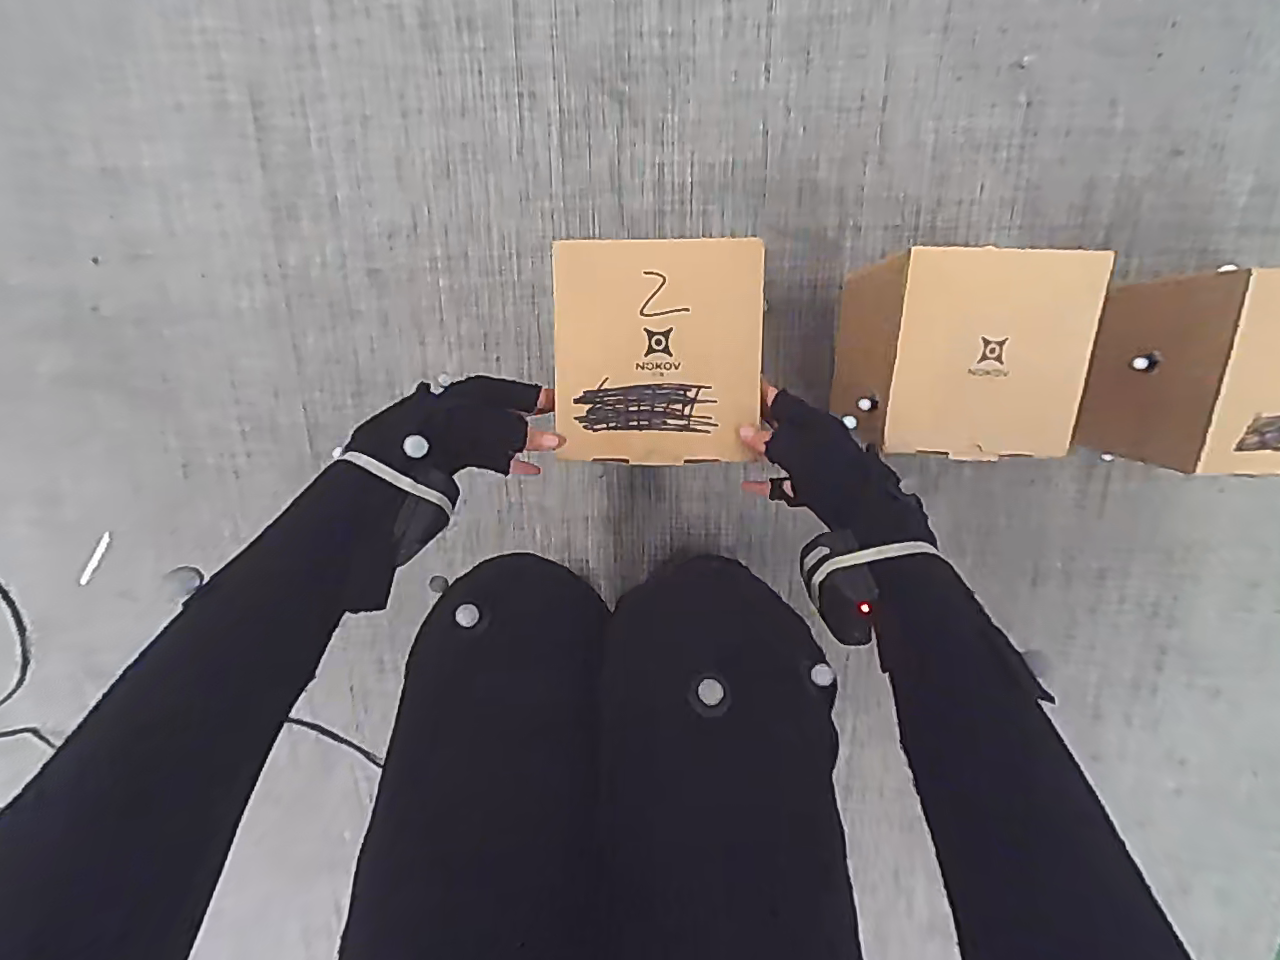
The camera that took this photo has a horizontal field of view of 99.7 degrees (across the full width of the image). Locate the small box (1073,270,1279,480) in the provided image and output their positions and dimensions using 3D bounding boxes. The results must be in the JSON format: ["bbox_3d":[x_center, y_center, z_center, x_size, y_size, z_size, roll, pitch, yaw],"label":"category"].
[{"bbox_3d":[0.574,-0.103,0.535,0.168,0.176,0.179,2,103,2],"label":"small box"}]

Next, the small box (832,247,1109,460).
[{"bbox_3d":[0.305,-0.123,0.543,0.168,0.176,0.179,2,104,2],"label":"small box"}]
